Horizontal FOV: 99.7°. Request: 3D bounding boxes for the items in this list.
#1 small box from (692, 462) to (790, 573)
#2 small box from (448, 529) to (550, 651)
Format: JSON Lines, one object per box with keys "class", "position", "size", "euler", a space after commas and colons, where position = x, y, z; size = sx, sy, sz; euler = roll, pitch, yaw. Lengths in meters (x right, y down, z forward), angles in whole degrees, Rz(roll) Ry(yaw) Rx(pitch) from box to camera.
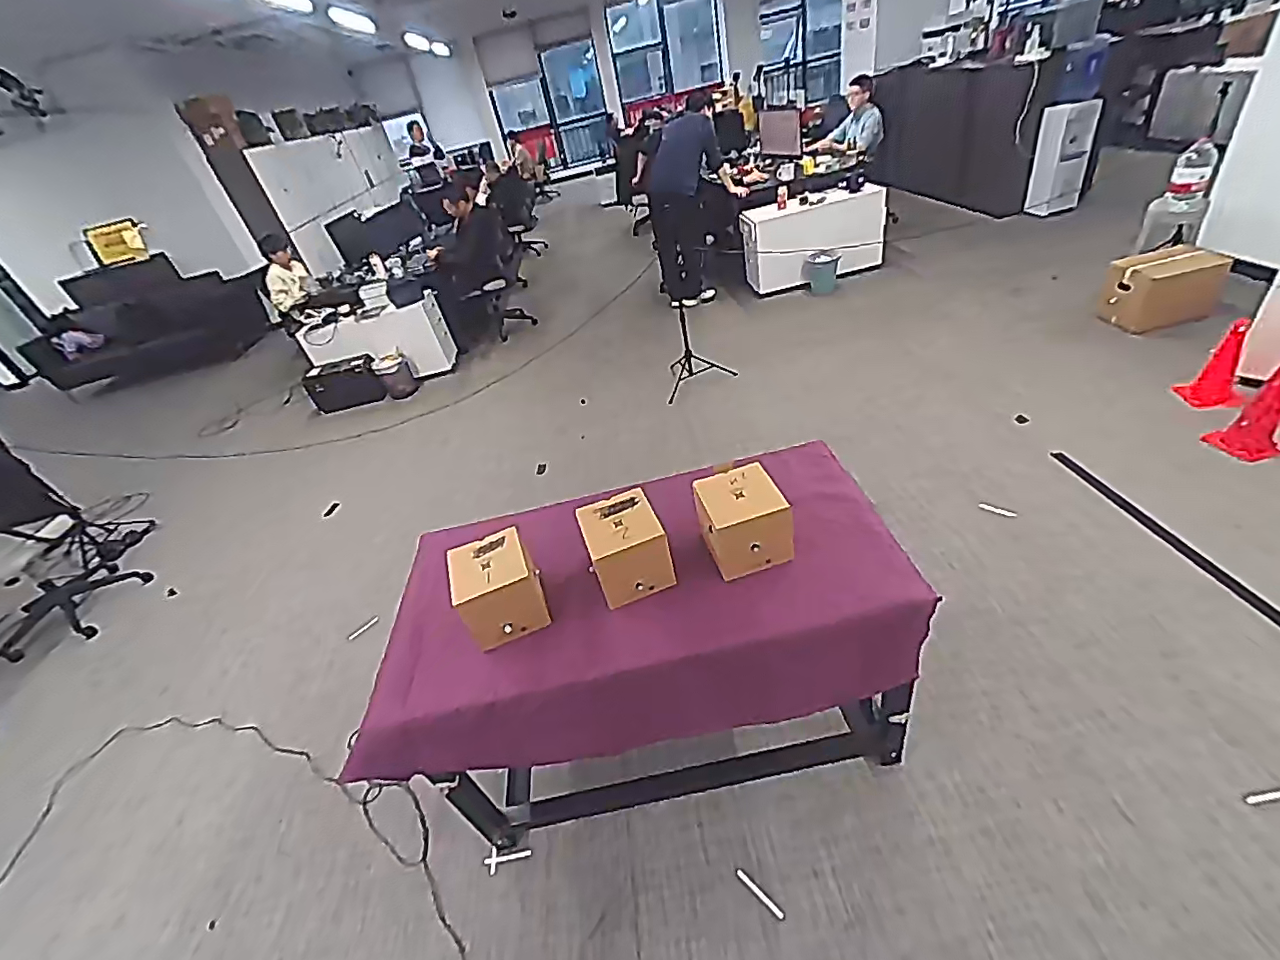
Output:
{"class": "small box", "position": [0.233, 0.091, 1.233], "size": [0.168, 0.176, 0.179], "euler": [-17, 36, -3]}
{"class": "small box", "position": [-0.319, 0.248, 1.223], "size": [0.168, 0.176, 0.179], "euler": [-22, 38, -9]}
